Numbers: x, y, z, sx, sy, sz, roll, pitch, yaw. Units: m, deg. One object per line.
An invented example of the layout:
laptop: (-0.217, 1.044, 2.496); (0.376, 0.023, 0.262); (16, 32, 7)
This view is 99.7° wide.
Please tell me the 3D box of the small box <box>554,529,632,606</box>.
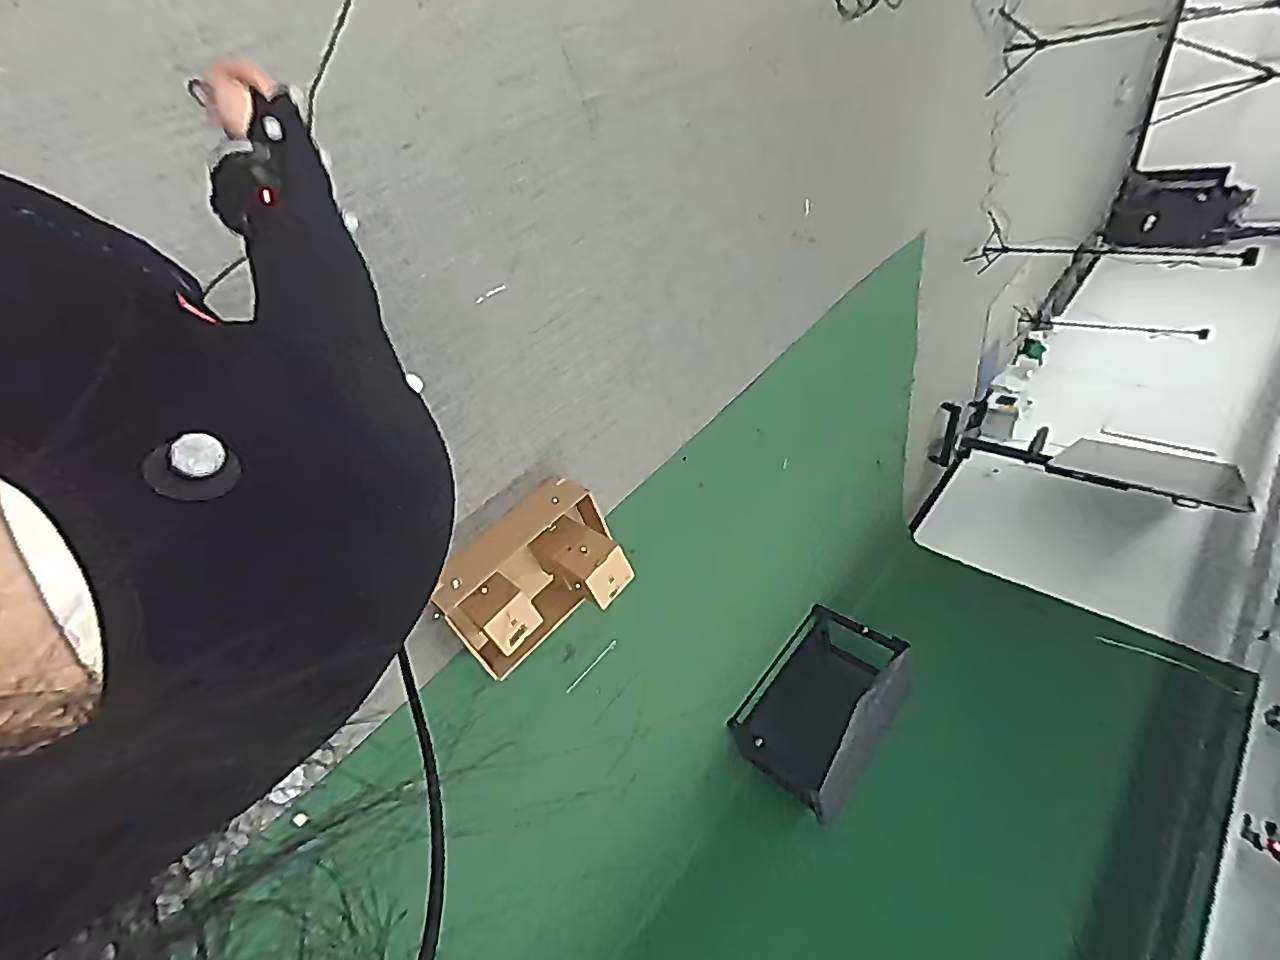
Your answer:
small box: (-0.160, 0.286, 1.828); (0.168, 0.176, 0.179); (-45, 134, -24)

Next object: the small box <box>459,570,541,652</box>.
small box: (-0.471, 0.434, 1.814); (0.168, 0.176, 0.179); (-44, 133, -25)
